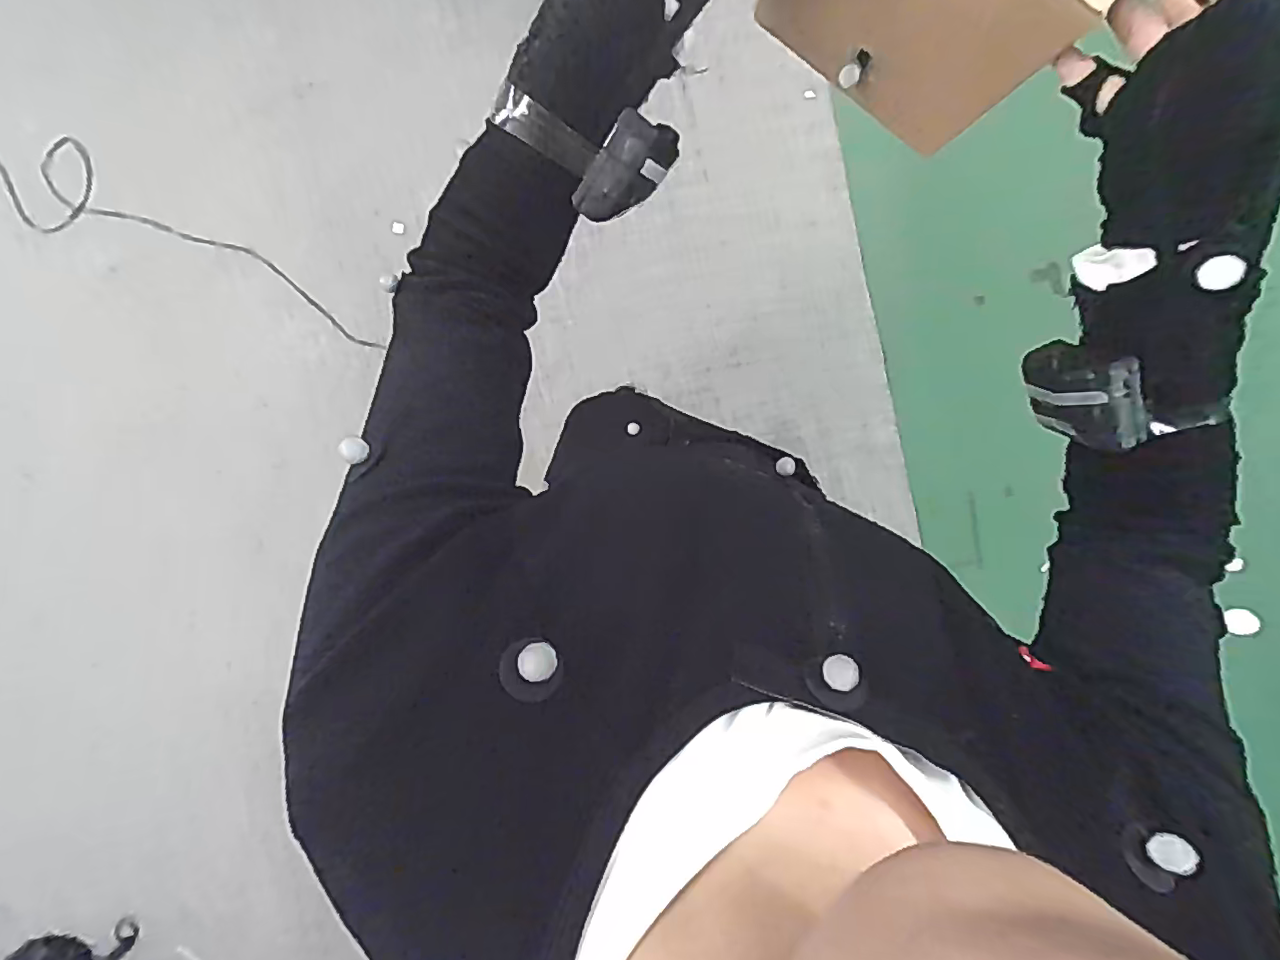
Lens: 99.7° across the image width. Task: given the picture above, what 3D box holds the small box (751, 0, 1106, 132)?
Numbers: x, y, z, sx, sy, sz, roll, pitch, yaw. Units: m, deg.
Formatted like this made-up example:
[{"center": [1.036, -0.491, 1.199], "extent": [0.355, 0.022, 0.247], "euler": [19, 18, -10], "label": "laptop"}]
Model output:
[{"center": [0.193, -0.350, 0.319], "extent": [0.179, 0.176, 0.168], "euler": [35, 97, -6], "label": "small box"}]
